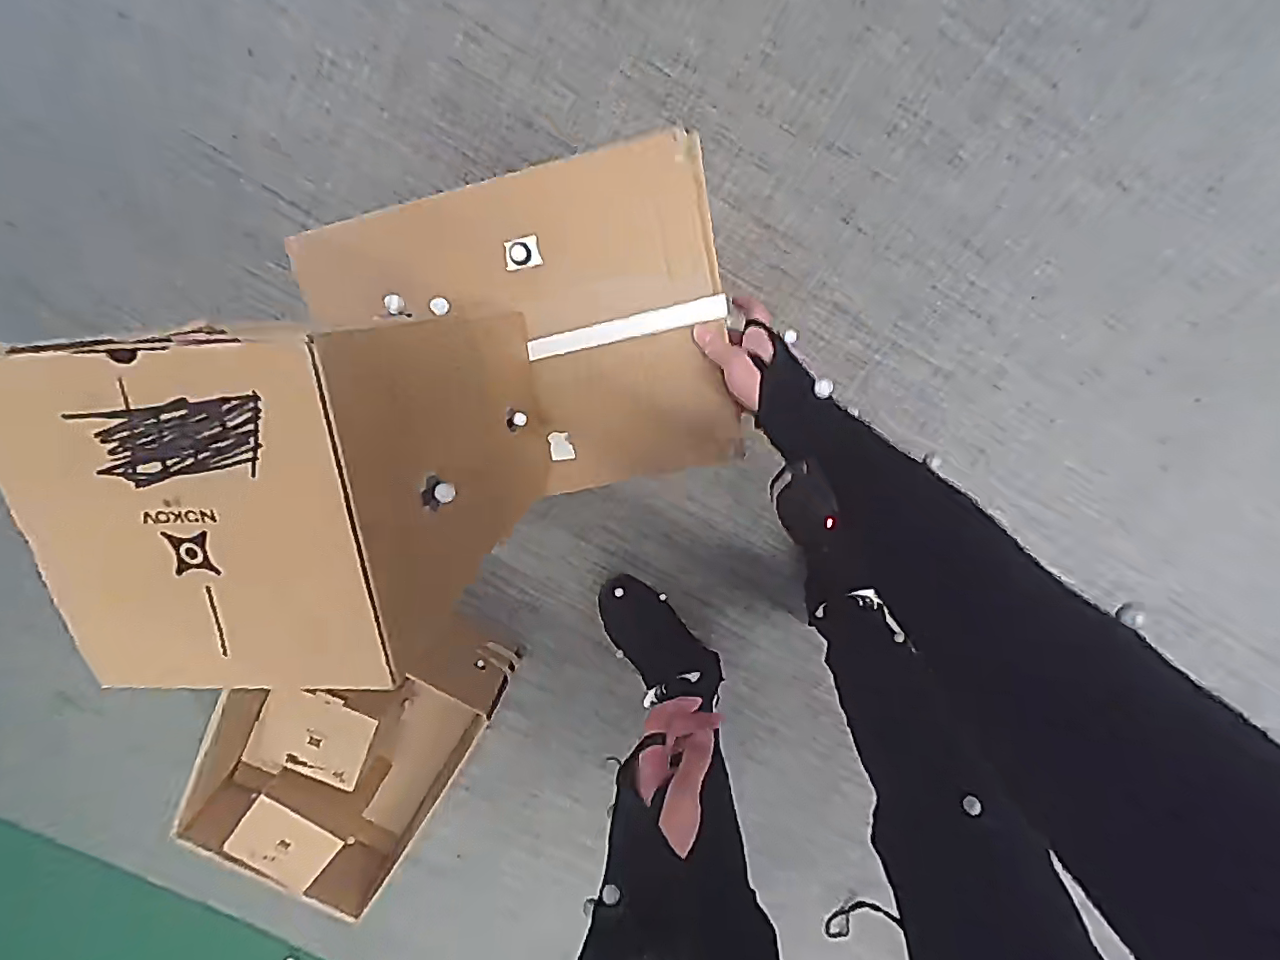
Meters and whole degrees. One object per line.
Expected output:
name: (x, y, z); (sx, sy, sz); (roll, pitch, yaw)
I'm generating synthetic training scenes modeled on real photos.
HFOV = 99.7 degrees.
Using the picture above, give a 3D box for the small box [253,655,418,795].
small box: (-0.506, 0.381, 0.921); (0.168, 0.176, 0.179); (25, 109, -5)

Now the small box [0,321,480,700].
small box: (-0.208, 0.000, 0.317); (0.168, 0.176, 0.179); (0, 110, 4)
